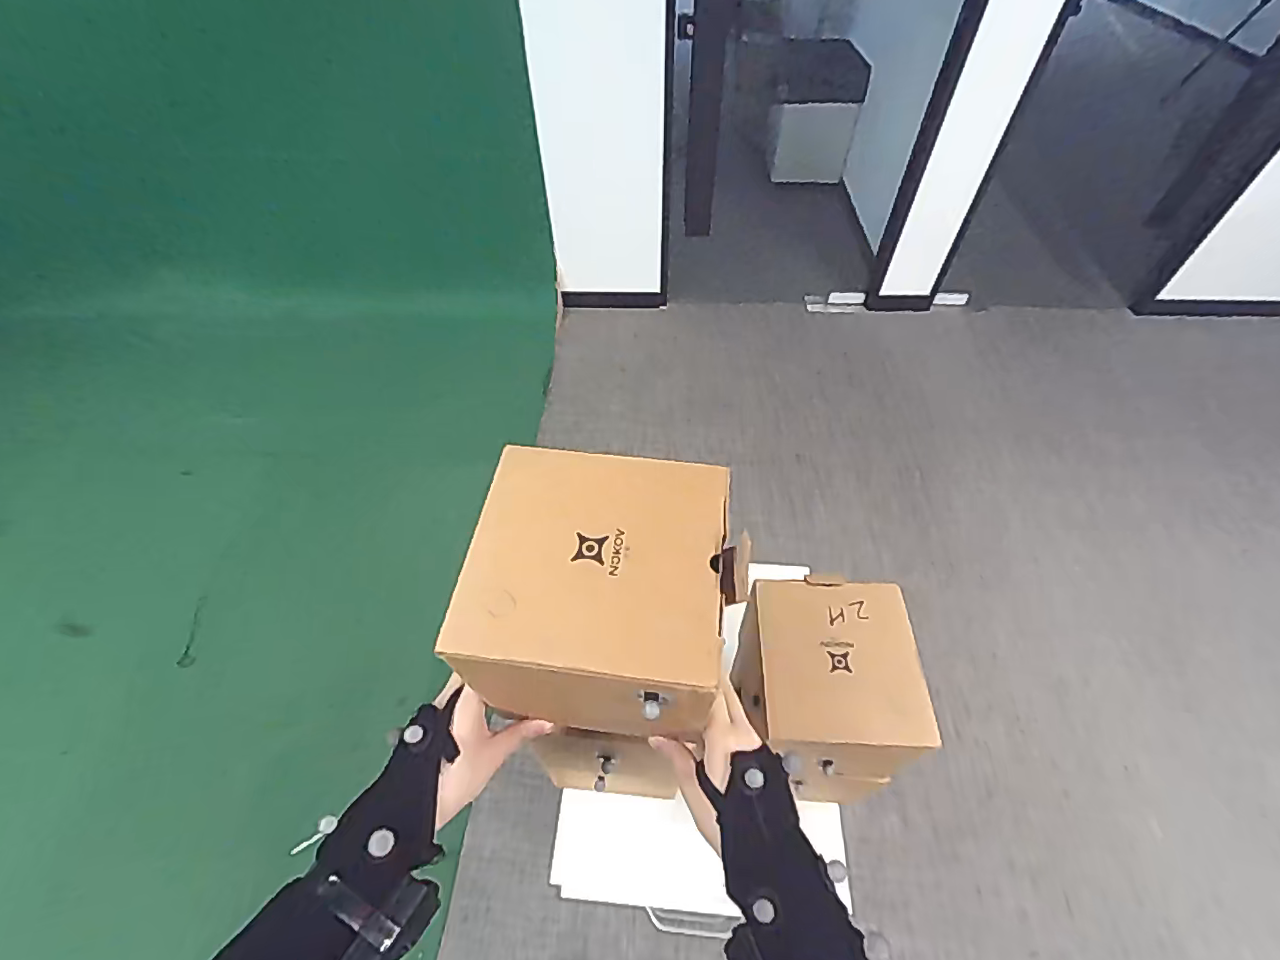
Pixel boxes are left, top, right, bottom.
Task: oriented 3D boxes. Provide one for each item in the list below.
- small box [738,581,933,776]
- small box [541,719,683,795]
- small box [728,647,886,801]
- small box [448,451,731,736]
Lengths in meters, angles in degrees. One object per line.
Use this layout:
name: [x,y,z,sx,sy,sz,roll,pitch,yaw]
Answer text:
small box: [0.211,0.238,0.639,0.168,0.176,0.179,2,52,3]
small box: [-0.029,0.338,0.770,0.179,0.176,0.168,5,52,3]
small box: [0.219,0.343,0.765,0.179,0.176,0.168,4,52,3]
small box: [-0.026,0.098,0.442,0.179,0.176,0.168,6,54,4]
